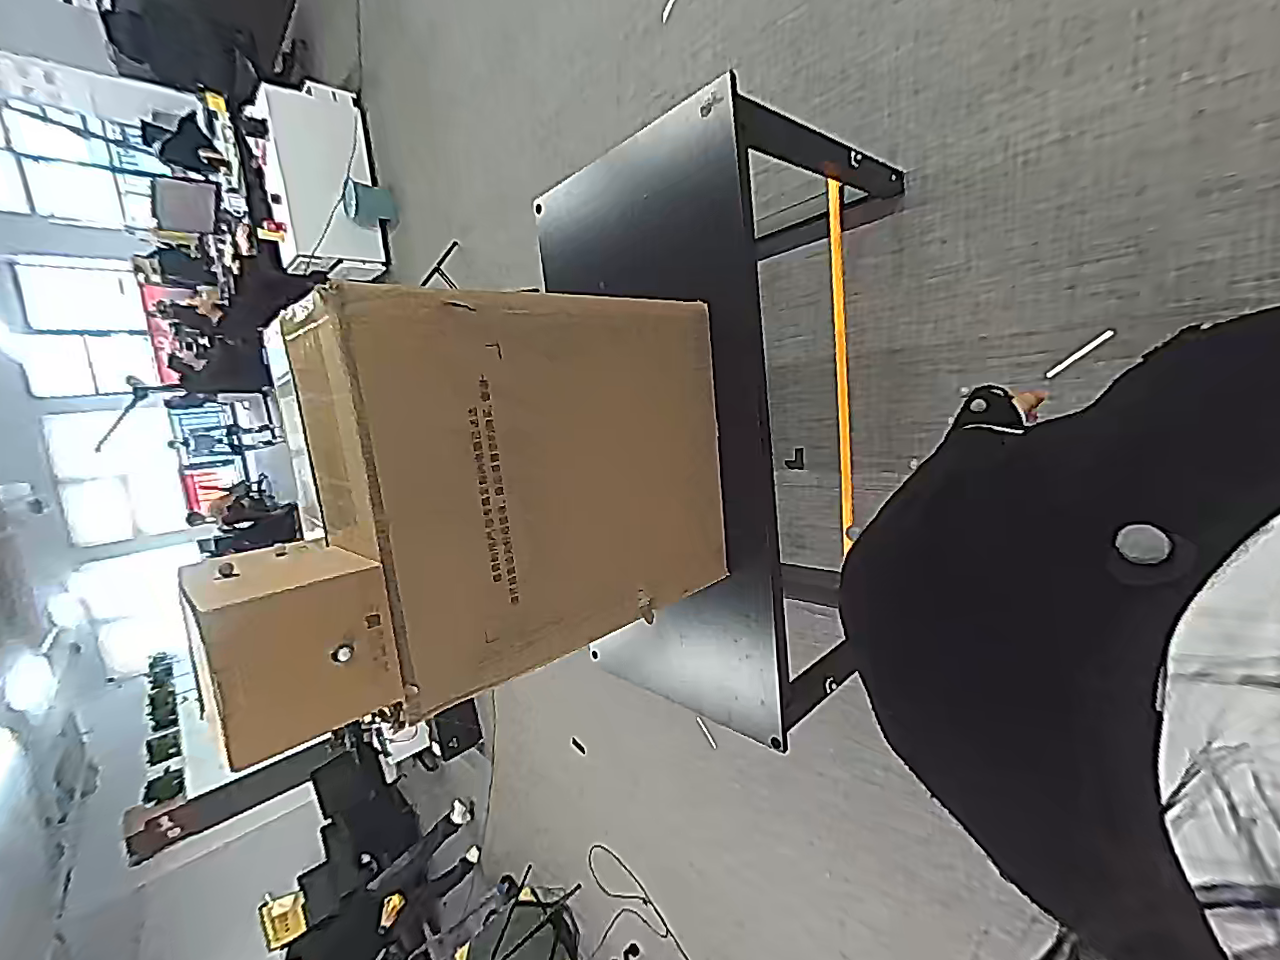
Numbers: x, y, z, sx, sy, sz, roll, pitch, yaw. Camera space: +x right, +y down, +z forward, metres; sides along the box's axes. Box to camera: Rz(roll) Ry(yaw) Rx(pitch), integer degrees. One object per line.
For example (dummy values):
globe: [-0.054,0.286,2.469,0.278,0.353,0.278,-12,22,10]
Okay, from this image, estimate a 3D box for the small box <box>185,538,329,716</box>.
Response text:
small box: [-0.528,0.196,0.777,0.168,0.176,0.179,5,103,49]

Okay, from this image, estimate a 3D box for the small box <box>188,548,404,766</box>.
small box: [-0.396,0.184,0.629,0.179,0.176,0.168,3,102,45]
